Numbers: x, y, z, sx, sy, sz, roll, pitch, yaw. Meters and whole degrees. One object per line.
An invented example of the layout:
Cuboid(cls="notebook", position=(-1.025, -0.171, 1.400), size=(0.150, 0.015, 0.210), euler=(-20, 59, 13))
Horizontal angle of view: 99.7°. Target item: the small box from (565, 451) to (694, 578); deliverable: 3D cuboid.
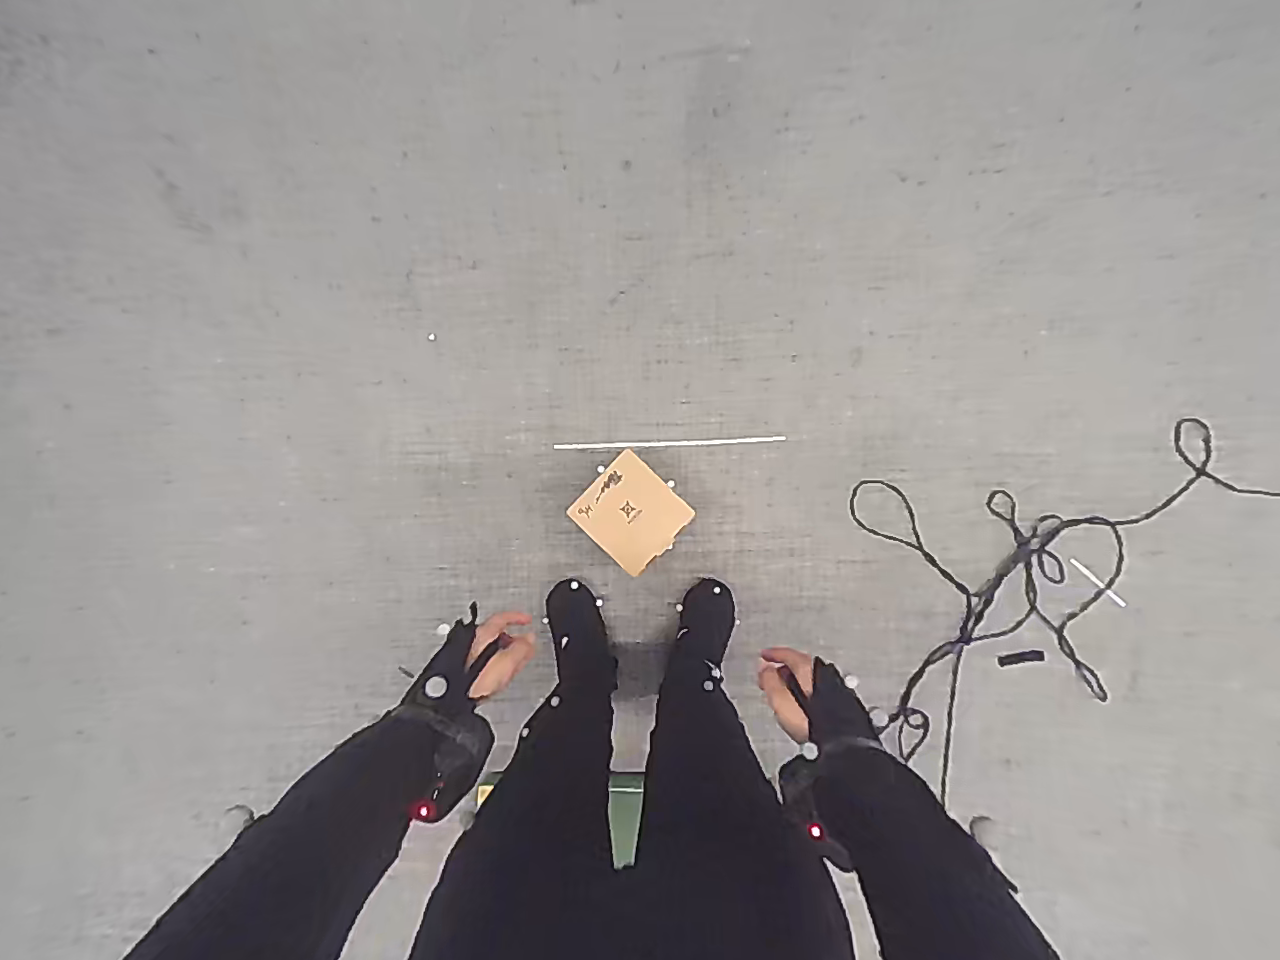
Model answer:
Cuboid(cls="small box", position=(-0.016, 0.061, 1.051), size=(0.179, 0.176, 0.168), euler=(44, 91, 2))
